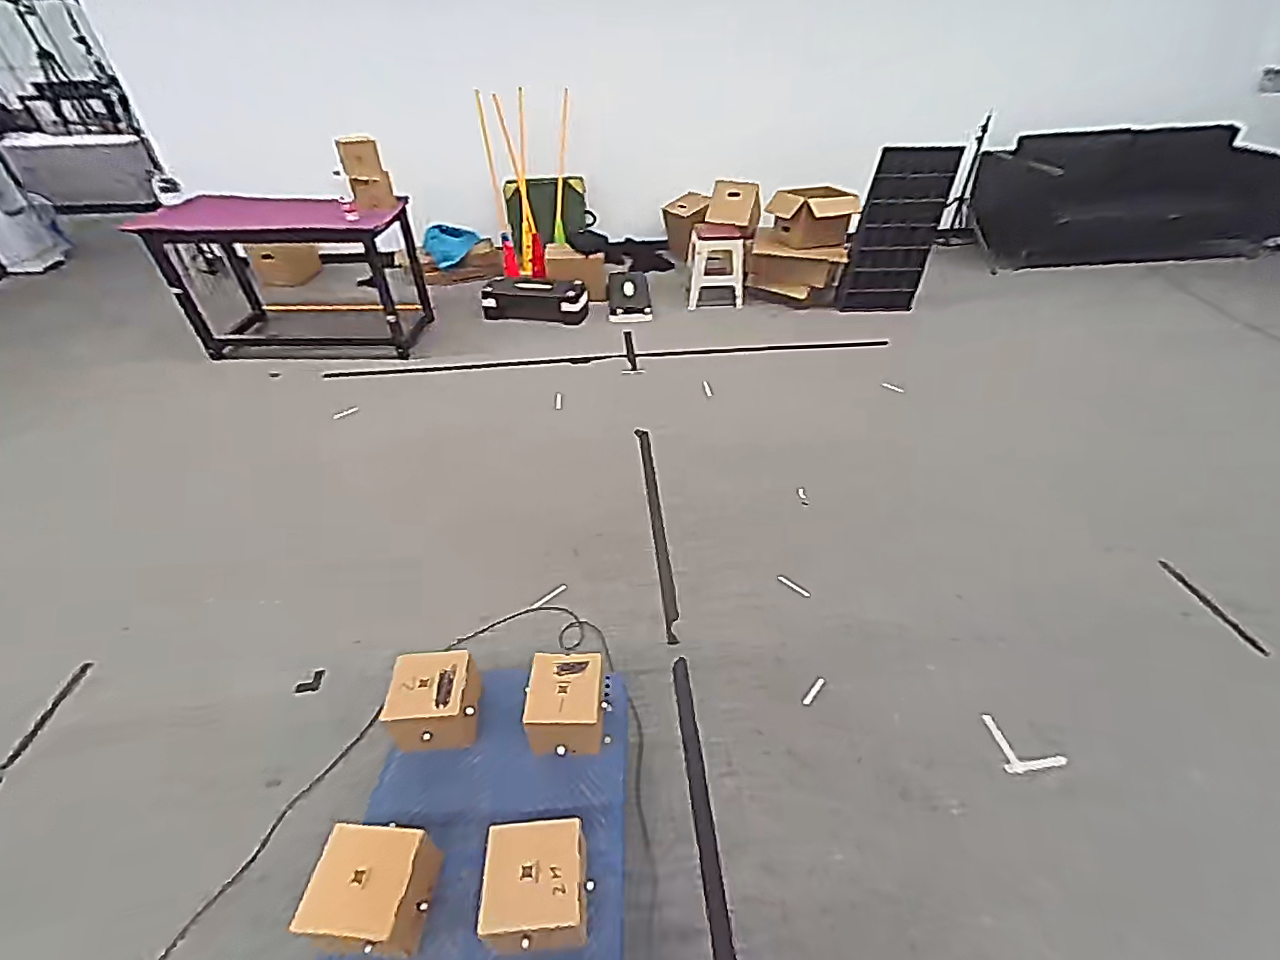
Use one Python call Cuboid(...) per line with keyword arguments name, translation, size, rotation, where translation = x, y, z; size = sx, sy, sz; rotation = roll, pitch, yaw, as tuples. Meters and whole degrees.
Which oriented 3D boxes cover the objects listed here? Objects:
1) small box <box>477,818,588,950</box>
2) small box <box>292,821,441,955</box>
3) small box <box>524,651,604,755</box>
Cuboid(name="small box", translation=(-0.195, 0.771, 1.032), size=(0.179, 0.176, 0.168), rotation=(-3, 40, -3))
Cuboid(name="small box", translation=(-0.505, 0.776, 1.028), size=(0.179, 0.176, 0.168), rotation=(3, 40, 2))
Cuboid(name="small box", translation=(-0.175, 0.538, 1.308), size=(0.168, 0.176, 0.179), rotation=(0, 41, 1))
